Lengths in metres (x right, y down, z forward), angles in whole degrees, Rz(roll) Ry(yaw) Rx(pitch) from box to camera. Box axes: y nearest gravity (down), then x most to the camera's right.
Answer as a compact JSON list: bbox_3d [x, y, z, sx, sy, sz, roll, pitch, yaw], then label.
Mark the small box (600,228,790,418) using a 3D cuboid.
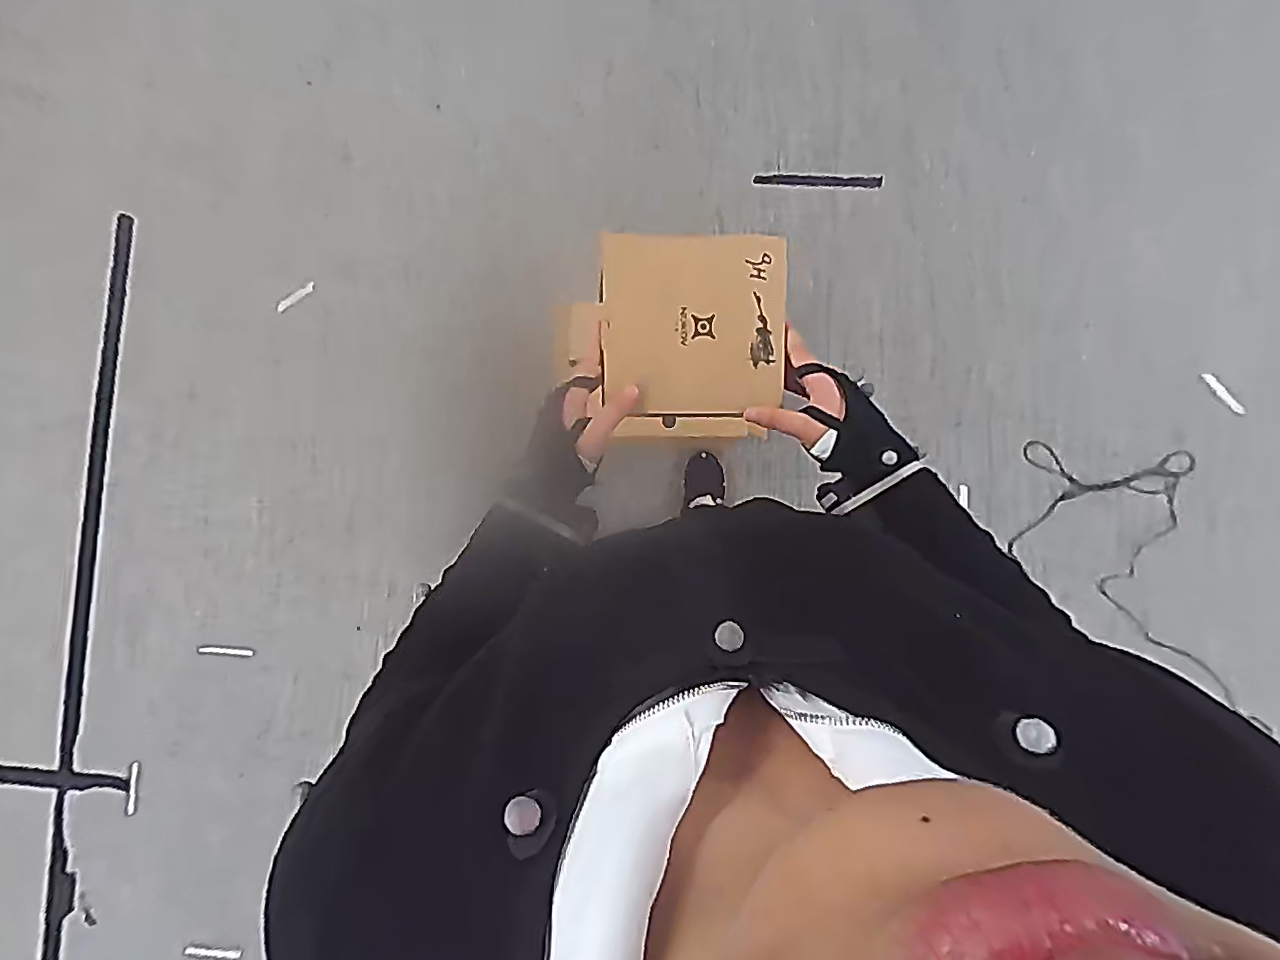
[{"bbox_3d":[0.049,-0.152,0.578,0.179,0.176,0.168,-1,95,-3],"label":"small box"}]
